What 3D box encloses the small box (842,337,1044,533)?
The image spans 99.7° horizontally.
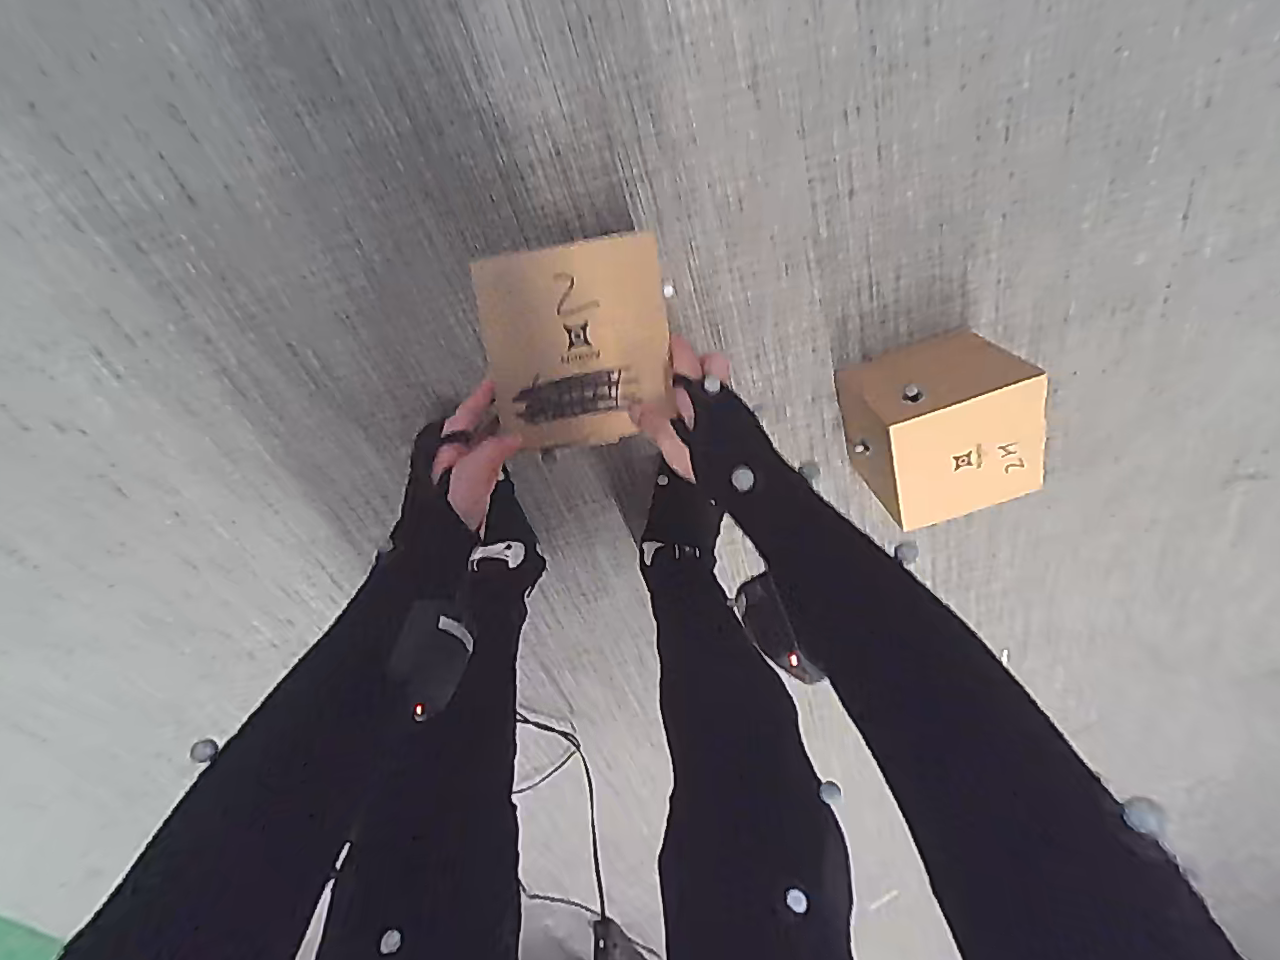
[{"bbox_3d":[0.380,-0.063,0.706,0.179,0.176,0.168,-19,121,8],"label":"small box"}]
